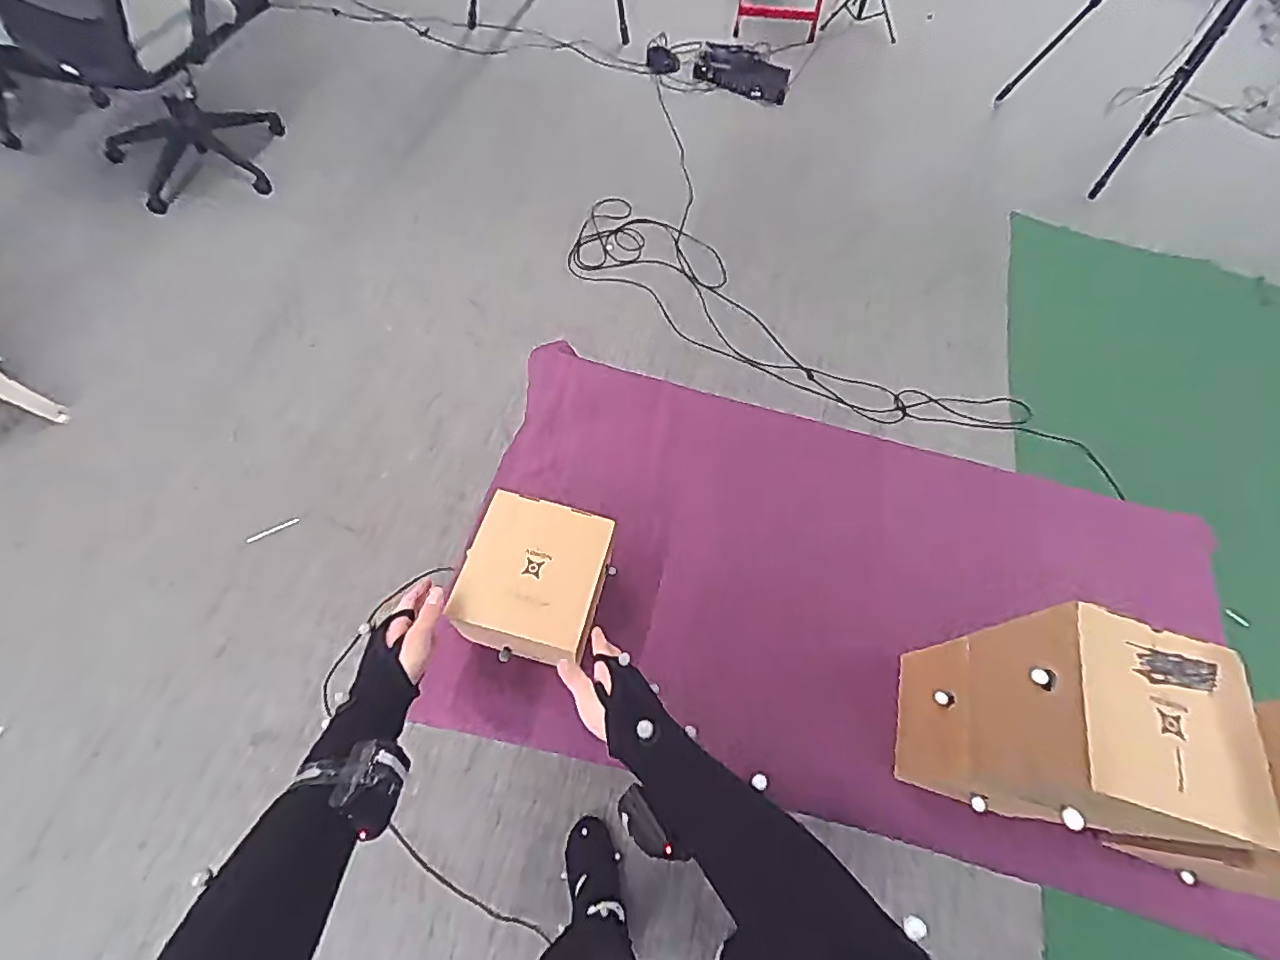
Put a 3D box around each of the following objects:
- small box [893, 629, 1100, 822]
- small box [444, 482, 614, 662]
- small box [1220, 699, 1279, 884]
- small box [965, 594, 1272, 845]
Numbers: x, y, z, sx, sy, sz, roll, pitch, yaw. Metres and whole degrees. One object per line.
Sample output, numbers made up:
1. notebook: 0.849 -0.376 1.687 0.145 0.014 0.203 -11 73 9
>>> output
1. small box: 0.456 0.321 0.714 0.168 0.176 0.179 17 62 3
2. small box: -0.141 0.133 0.742 0.168 0.176 0.179 15 63 2
3. small box: 0.741 0.333 0.551 0.168 0.176 0.179 19 63 5
4. small box: 0.473 0.247 0.569 0.168 0.176 0.179 18 63 3
